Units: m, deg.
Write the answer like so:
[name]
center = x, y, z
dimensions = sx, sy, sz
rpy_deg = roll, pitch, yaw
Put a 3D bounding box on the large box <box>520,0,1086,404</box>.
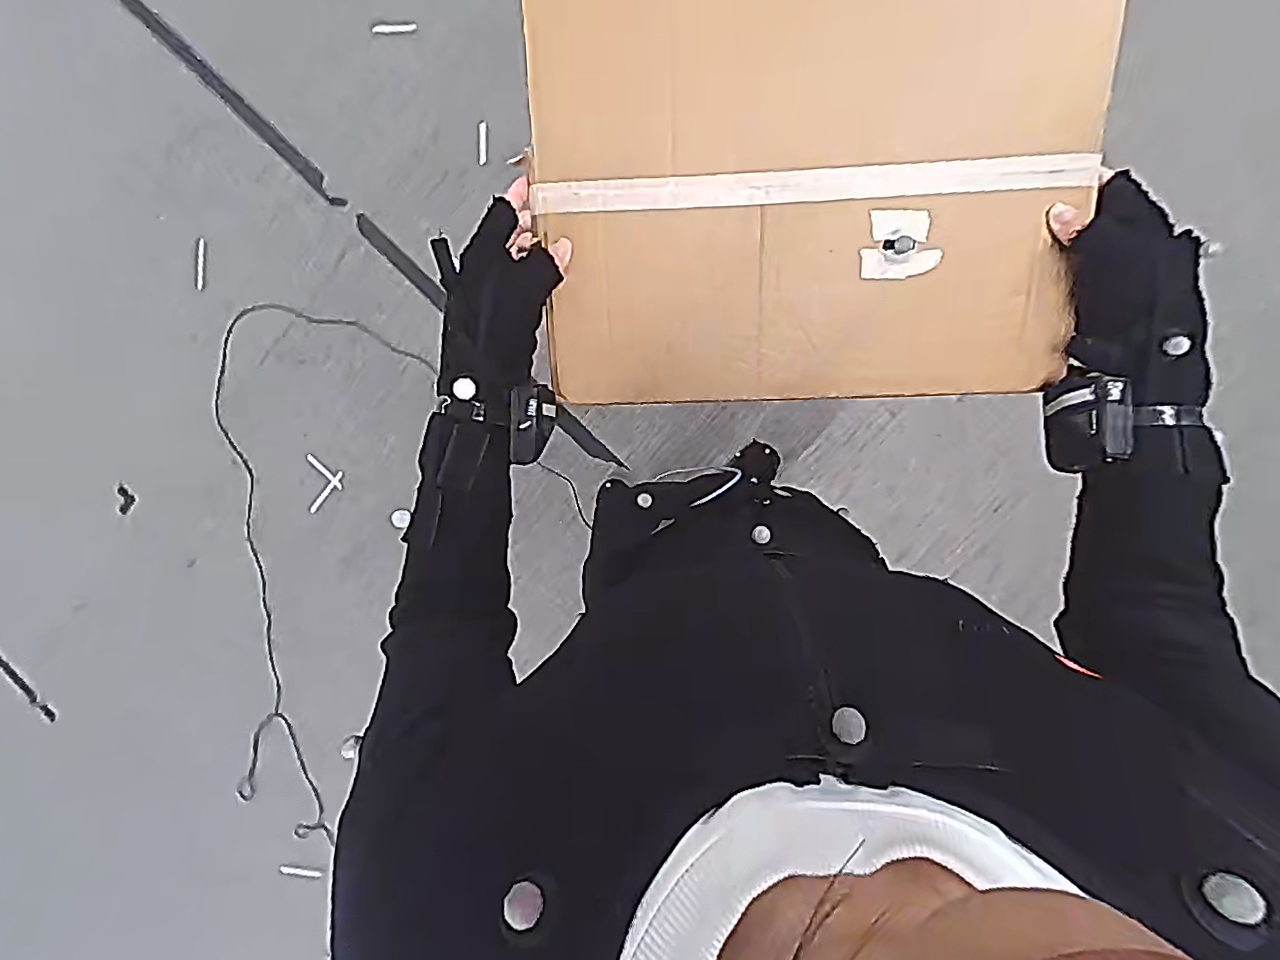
[large box]
center = 0.123, -0.260, 0.558
dimensions = 0.408, 0.320, 0.320
rpy_deg = -2, 106, 3
